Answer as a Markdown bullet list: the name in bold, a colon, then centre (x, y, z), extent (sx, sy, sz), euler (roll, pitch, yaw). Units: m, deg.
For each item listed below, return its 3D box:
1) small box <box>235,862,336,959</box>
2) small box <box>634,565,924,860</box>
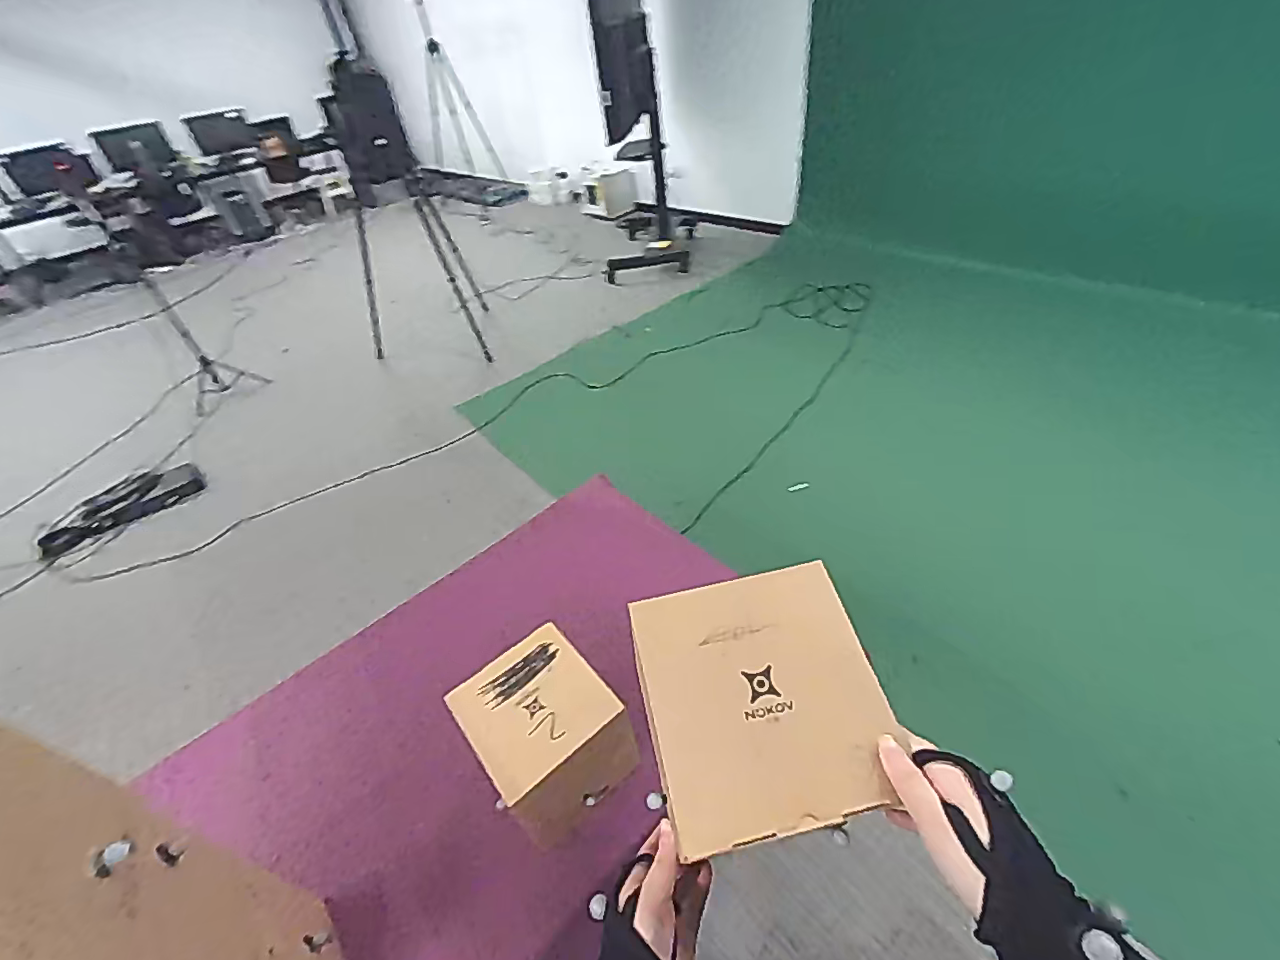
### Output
- **small box**: centre (-0.421, 0.545, 0.546), extent (0.179, 0.176, 0.168), euler (-36, 47, -28)
- **small box**: centre (0.094, 0.198, 0.456), extent (0.168, 0.176, 0.179), euler (-11, 55, -5)
